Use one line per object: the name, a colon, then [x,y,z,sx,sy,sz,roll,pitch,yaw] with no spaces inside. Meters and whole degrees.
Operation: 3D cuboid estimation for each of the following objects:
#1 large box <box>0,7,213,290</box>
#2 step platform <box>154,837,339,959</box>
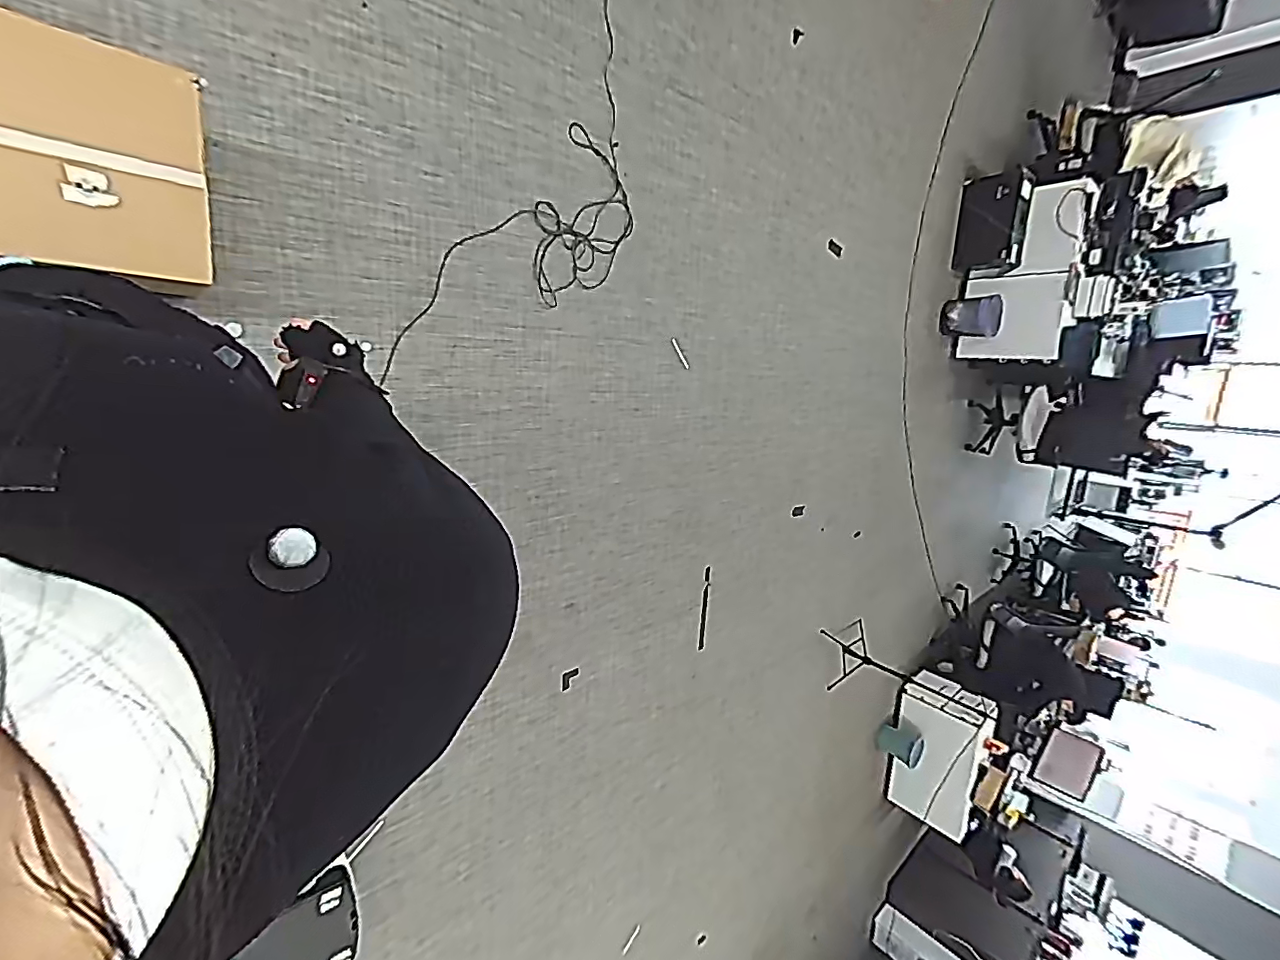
large box: [-0.944,-0.494,0.840,0.408,0.320,0.320,-5,105,-42]
step platform: [-1.071,1.145,1.219,0.684,0.204,0.286,-10,107,-39]
